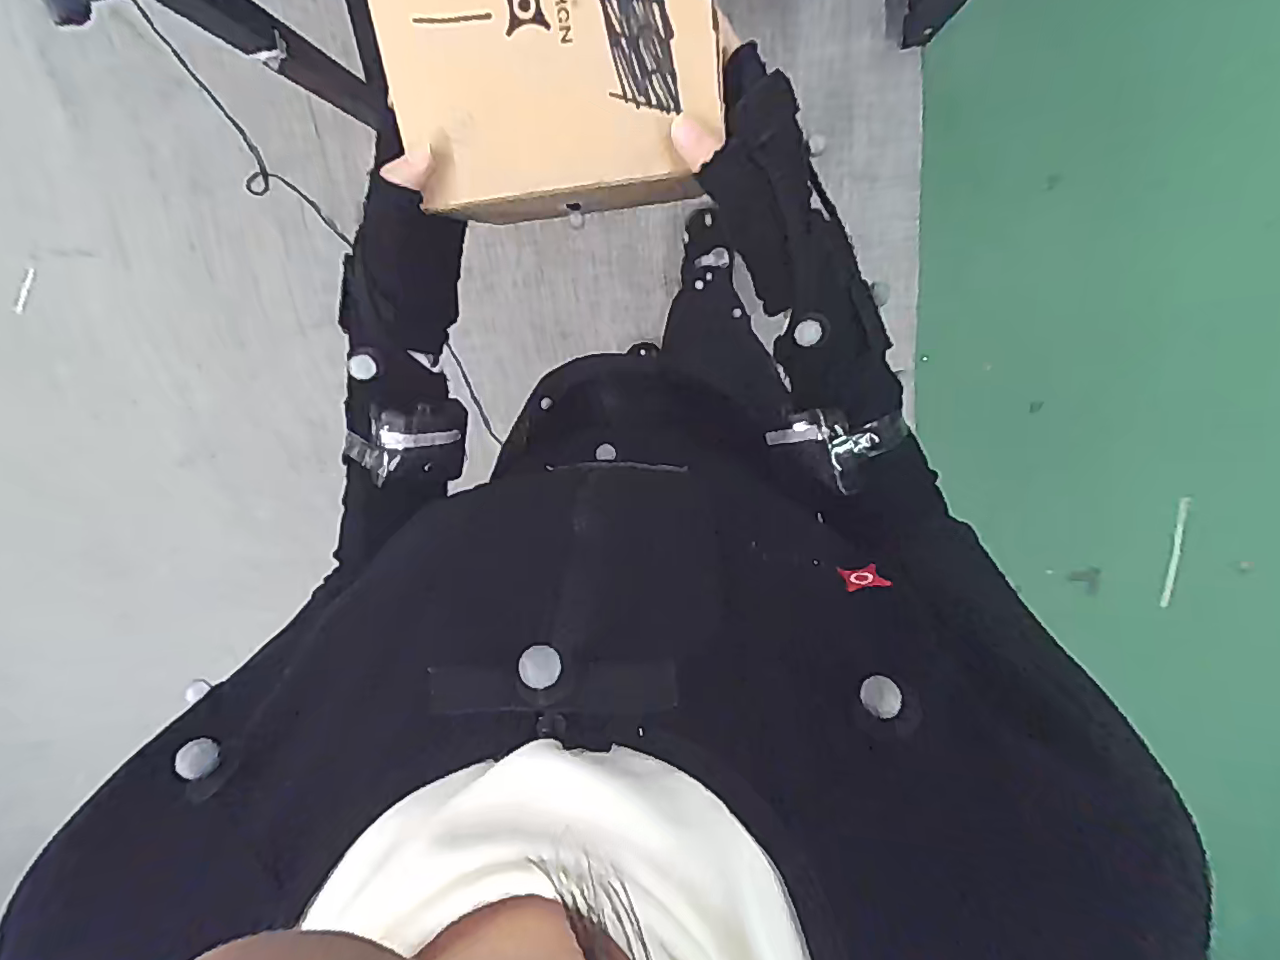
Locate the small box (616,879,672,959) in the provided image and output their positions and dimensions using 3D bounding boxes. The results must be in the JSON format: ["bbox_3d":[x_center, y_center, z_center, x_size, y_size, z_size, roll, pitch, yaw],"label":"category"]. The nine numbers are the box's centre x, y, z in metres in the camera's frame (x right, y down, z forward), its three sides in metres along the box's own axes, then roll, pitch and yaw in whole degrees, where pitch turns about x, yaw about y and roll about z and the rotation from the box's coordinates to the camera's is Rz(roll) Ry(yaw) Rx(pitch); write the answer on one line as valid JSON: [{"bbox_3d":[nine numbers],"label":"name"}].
[{"bbox_3d":[0.018,1.520,1.870,0.179,0.176,0.168,-5,108,4],"label":"small box"}]

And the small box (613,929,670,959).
[{"bbox_3d":[0.005,1.570,1.714,0.179,0.176,0.168,-3,108,5],"label":"small box"}]

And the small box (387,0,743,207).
[{"bbox_3d":[-0.043,-0.282,0.345,0.179,0.176,0.168,-10,113,4],"label":"small box"}]
